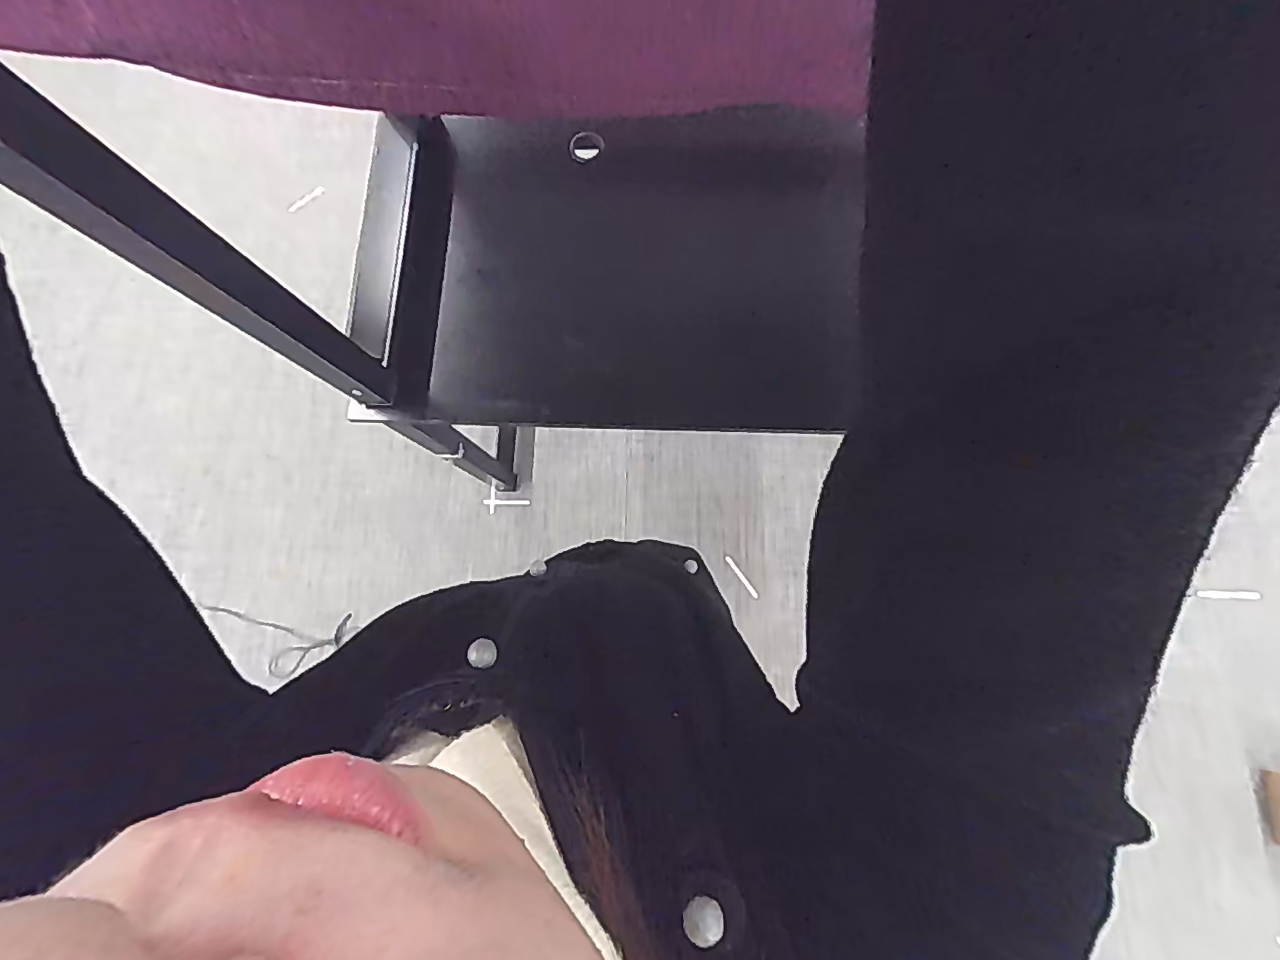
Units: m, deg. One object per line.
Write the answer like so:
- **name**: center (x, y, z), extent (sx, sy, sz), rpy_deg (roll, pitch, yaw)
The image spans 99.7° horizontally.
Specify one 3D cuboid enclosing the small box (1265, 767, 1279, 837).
- **small box**: center (1.608, 0.781, 1.232), extent (0.168, 0.176, 0.179), rpy_deg (1, 80, 3)
